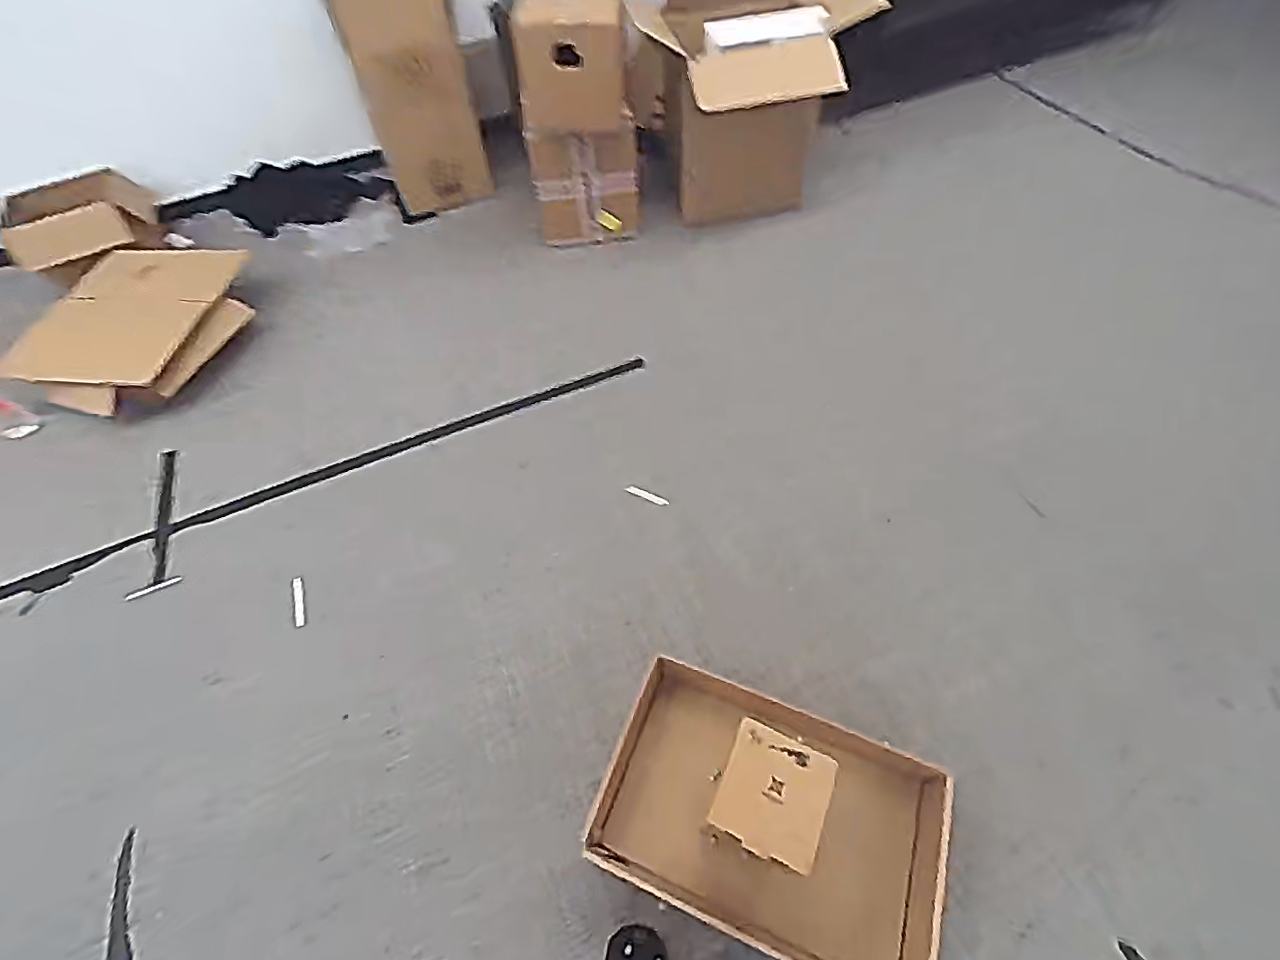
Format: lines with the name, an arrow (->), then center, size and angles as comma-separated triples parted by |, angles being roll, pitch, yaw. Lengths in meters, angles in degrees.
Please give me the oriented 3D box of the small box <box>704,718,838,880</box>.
small box -> 0.218, 0.547, 0.934 | 0.168, 0.176, 0.179 | 22, 60, 16
